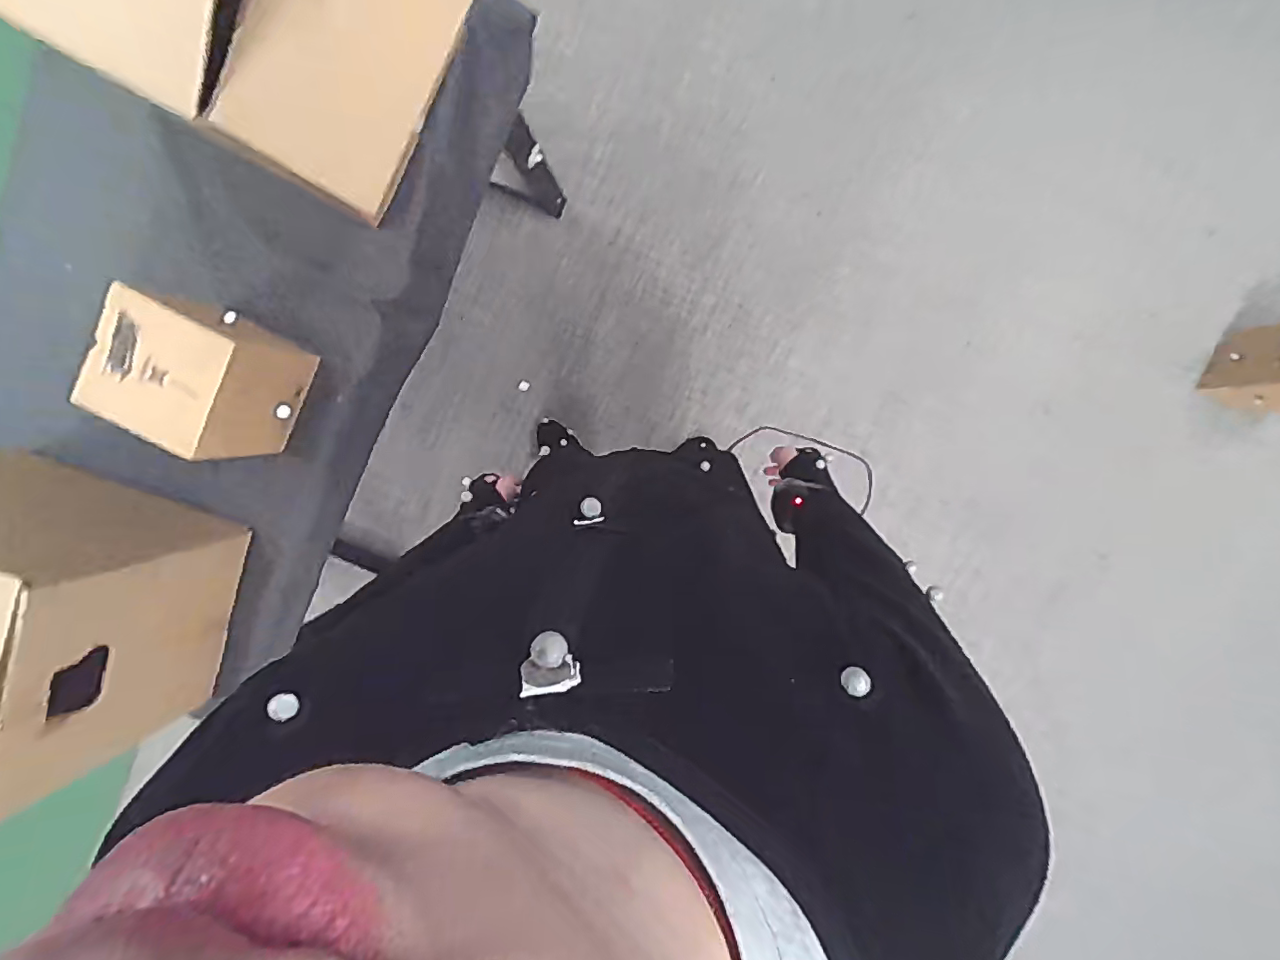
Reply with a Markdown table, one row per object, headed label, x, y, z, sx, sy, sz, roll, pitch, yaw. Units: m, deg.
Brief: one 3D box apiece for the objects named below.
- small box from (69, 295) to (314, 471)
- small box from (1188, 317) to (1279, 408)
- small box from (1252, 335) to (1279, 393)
| label | x | y | z | sx | sy | sz | roll | pitch | yaw |
| --- | --- | --- | --- | --- | --- | --- | --- | --- | --- |
| small box | -0.609 | -0.130 | 0.755 | 0.179 | 0.176 | 0.168 | 27 | 99 | -1 |
| small box | 1.549 | -0.282 | 1.344 | 0.179 | 0.176 | 0.168 | 22 | 99 | 1 |
| small box | 1.536 | -0.260 | 1.183 | 0.179 | 0.176 | 0.168 | 22 | 100 | -1 |
